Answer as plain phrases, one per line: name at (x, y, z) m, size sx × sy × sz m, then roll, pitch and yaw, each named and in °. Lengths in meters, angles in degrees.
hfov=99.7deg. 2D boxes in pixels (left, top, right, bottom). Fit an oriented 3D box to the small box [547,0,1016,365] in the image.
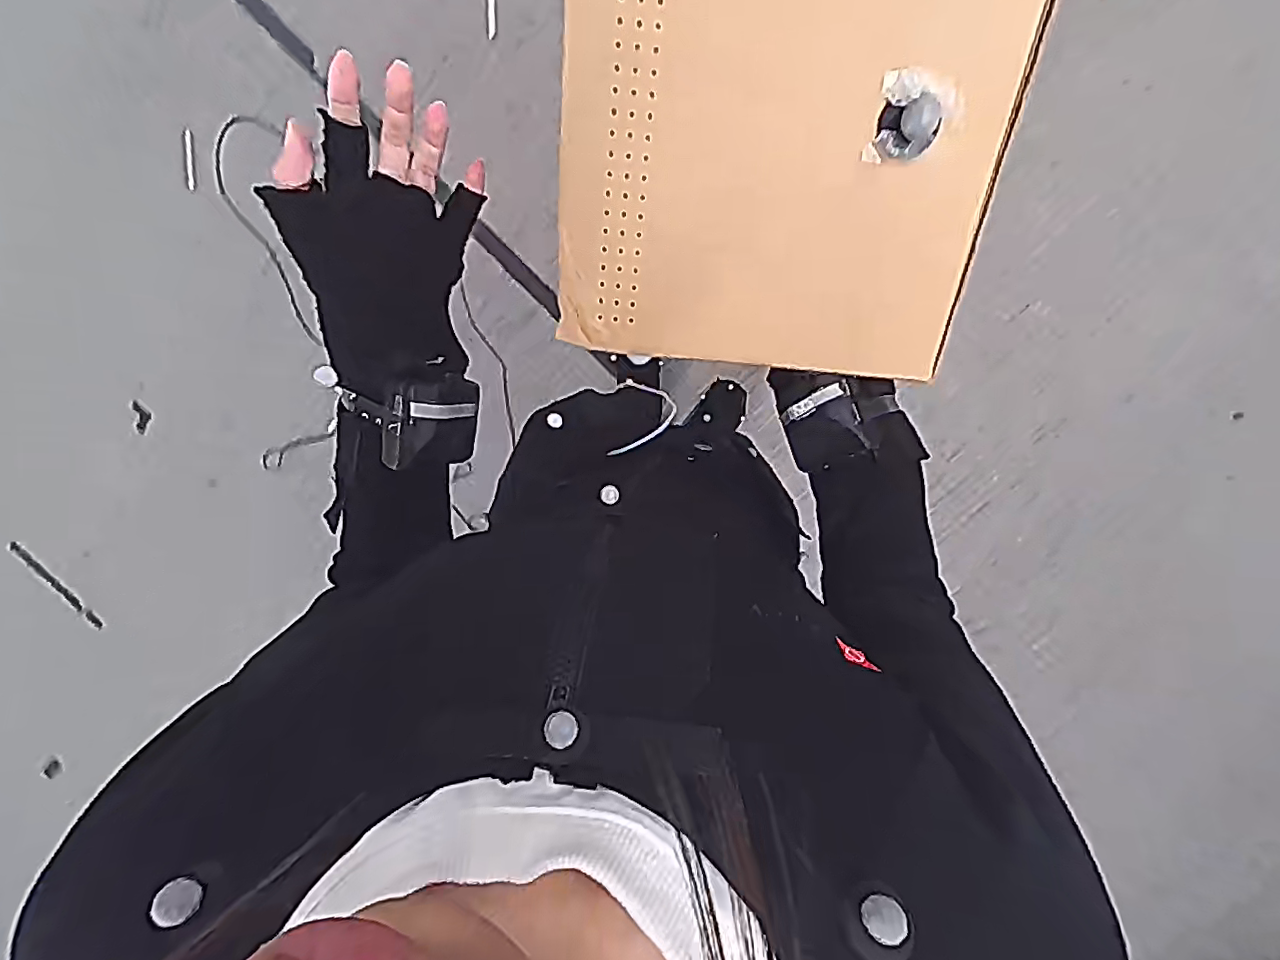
small box at (0.044, -0.166, 0.278) m, size 0.176 × 0.168 × 0.179 m, roll 4°, pitch 114°, yaw -4°
